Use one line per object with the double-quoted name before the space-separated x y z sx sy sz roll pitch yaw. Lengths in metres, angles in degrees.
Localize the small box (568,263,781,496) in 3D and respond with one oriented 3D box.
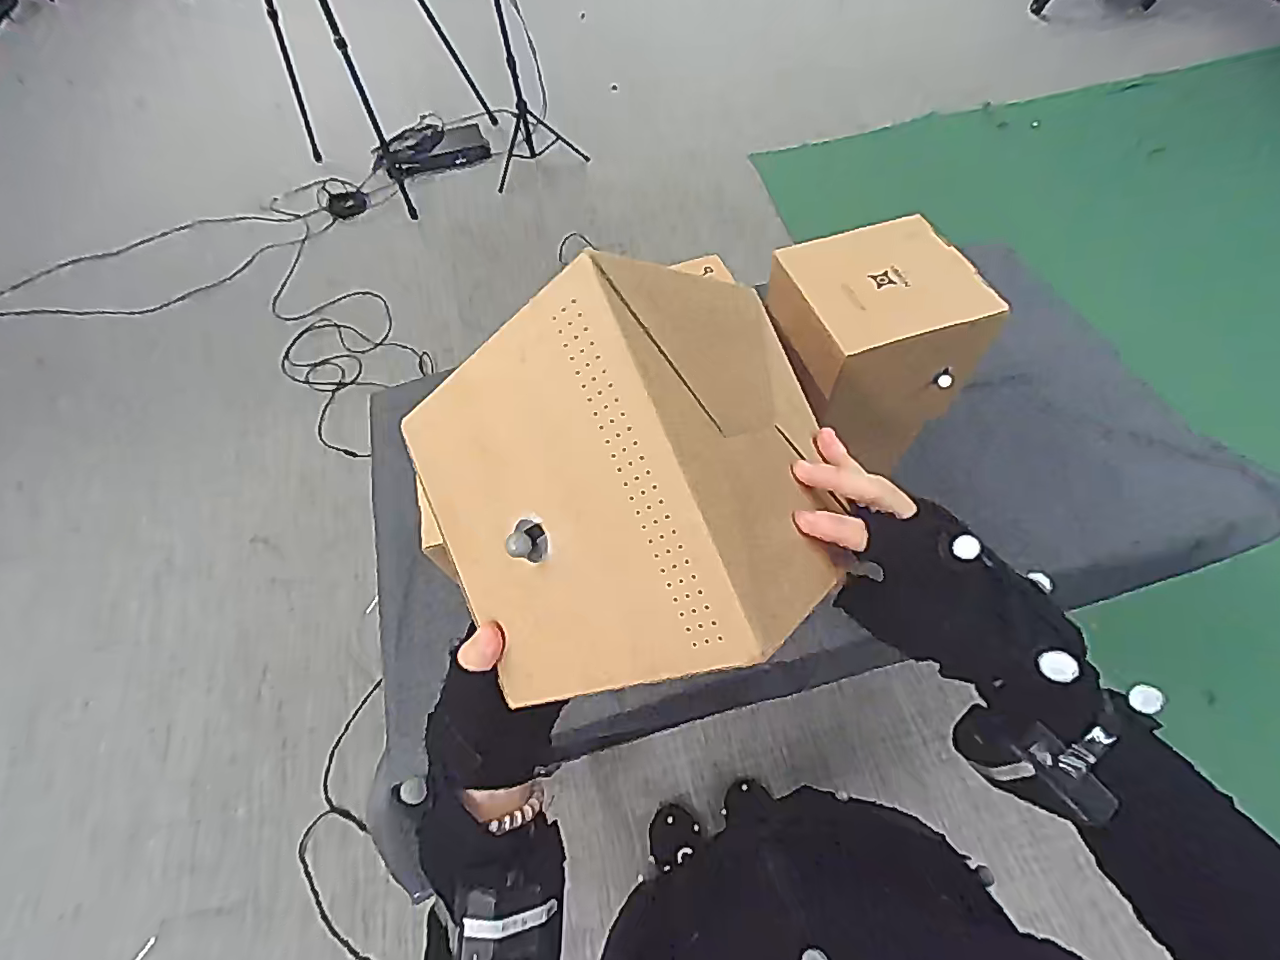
"small box" 0.037 -0.105 0.612 0.179 0.176 0.168 -19 61 -6
